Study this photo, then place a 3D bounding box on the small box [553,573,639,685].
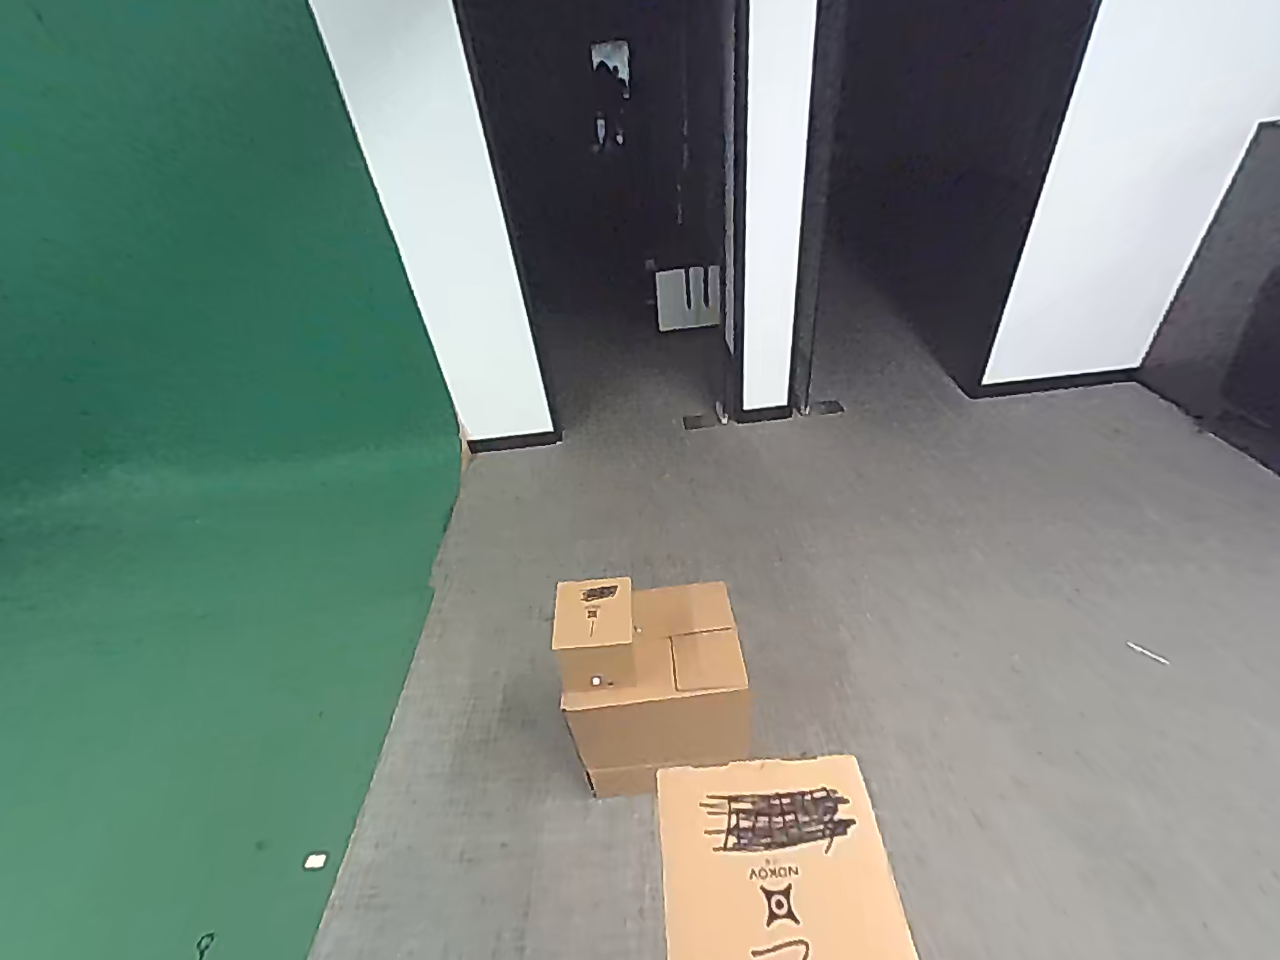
[{"bbox_3d":[-0.092,0.332,1.207,0.168,0.176,0.179,-5,41,2],"label":"small box"}]
